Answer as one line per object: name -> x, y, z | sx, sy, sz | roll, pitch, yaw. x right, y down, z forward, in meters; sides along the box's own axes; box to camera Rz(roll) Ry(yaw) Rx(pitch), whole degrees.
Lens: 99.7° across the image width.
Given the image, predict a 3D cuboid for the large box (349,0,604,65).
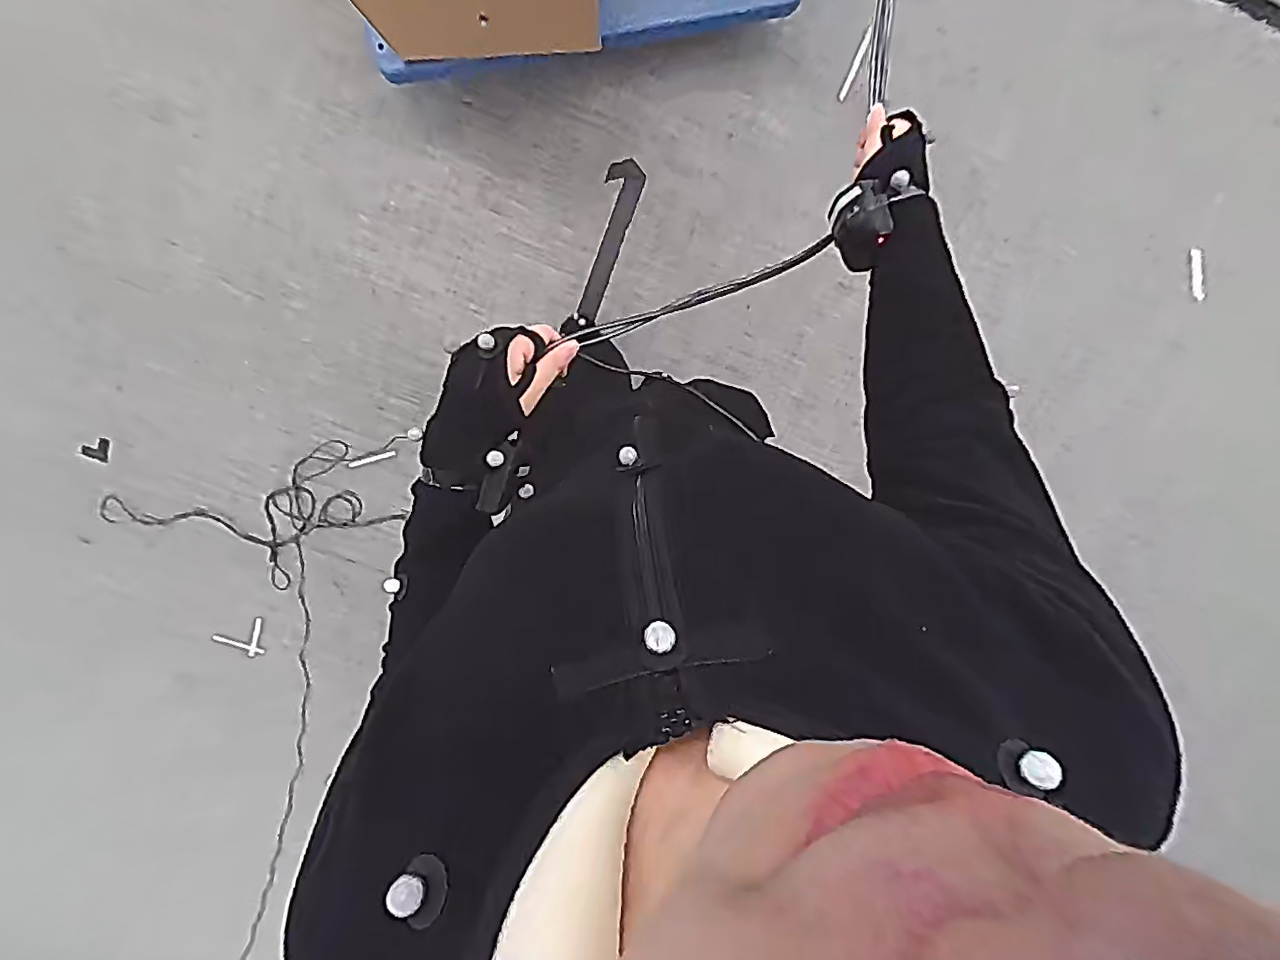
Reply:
large box -> -0.281, -0.948, 0.899 | 0.408, 0.320, 0.320 | -3, 104, 1
